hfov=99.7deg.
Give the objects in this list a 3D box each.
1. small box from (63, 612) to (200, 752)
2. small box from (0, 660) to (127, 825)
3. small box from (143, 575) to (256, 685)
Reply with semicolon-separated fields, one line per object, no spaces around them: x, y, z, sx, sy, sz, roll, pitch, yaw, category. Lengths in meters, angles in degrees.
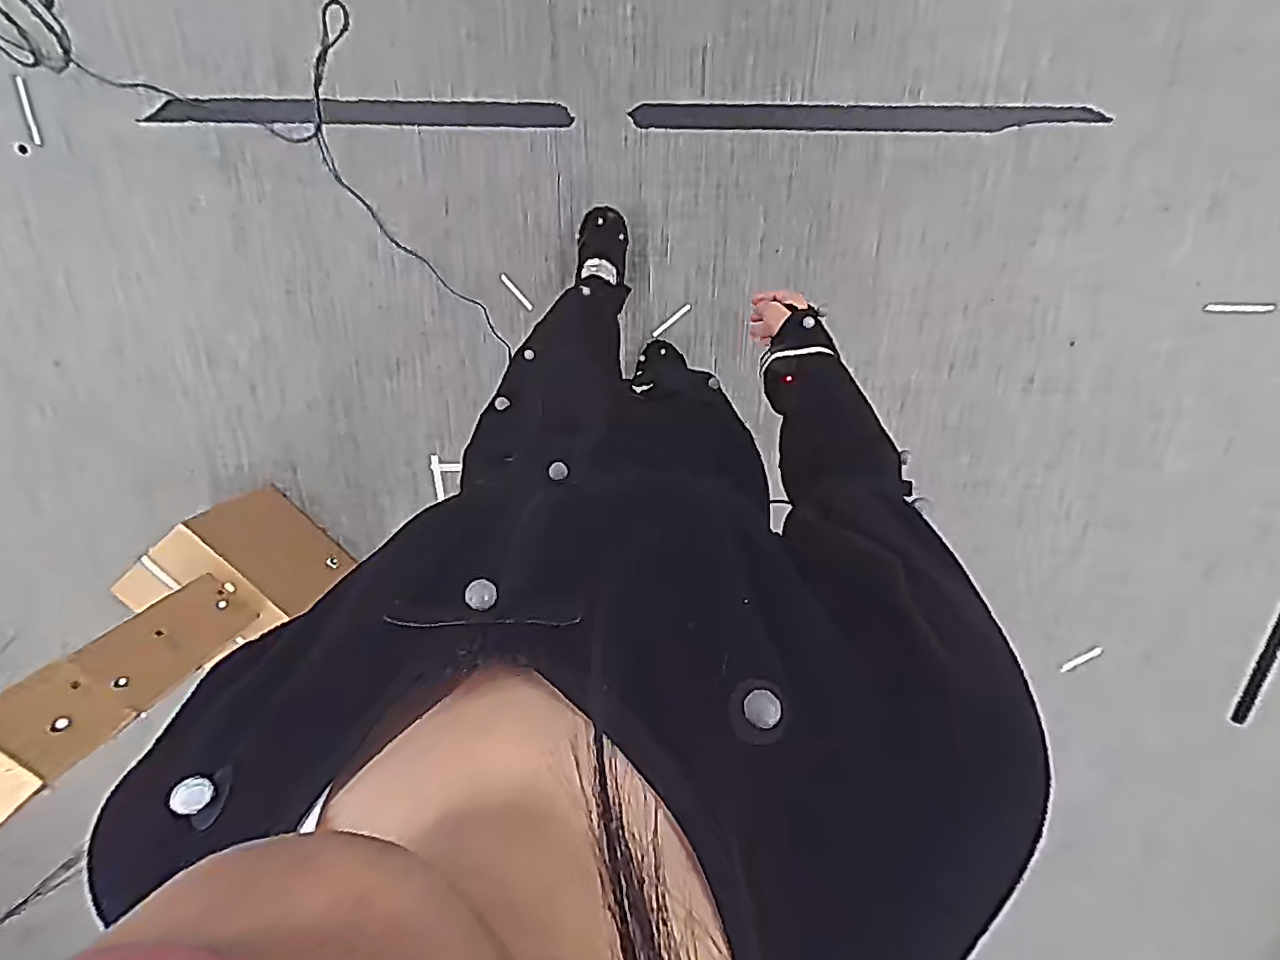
-1.082;0.414;1.126;0.179;0.176;0.168;-38;103;15;small box
-1.092;0.462;0.970;0.179;0.176;0.168;-39;102;15;small box
-1.070;0.360;1.280;0.179;0.176;0.168;-39;102;14;small box
